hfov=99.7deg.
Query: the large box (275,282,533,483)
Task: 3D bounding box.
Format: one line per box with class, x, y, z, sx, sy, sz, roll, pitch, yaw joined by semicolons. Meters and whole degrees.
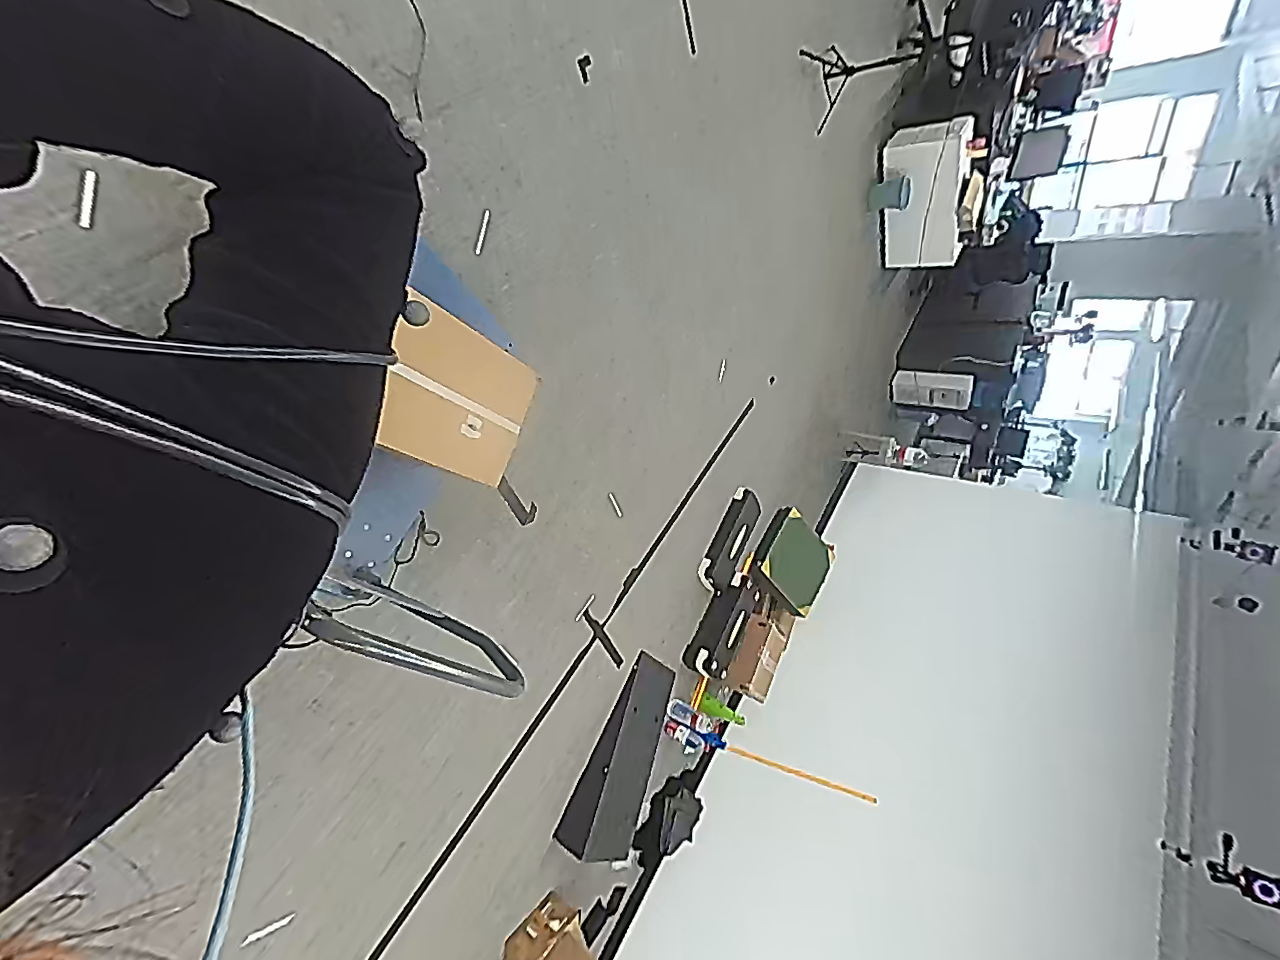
large box;-0.536;-0.217;1.269;0.408;0.320;0.320;30;77;-54
